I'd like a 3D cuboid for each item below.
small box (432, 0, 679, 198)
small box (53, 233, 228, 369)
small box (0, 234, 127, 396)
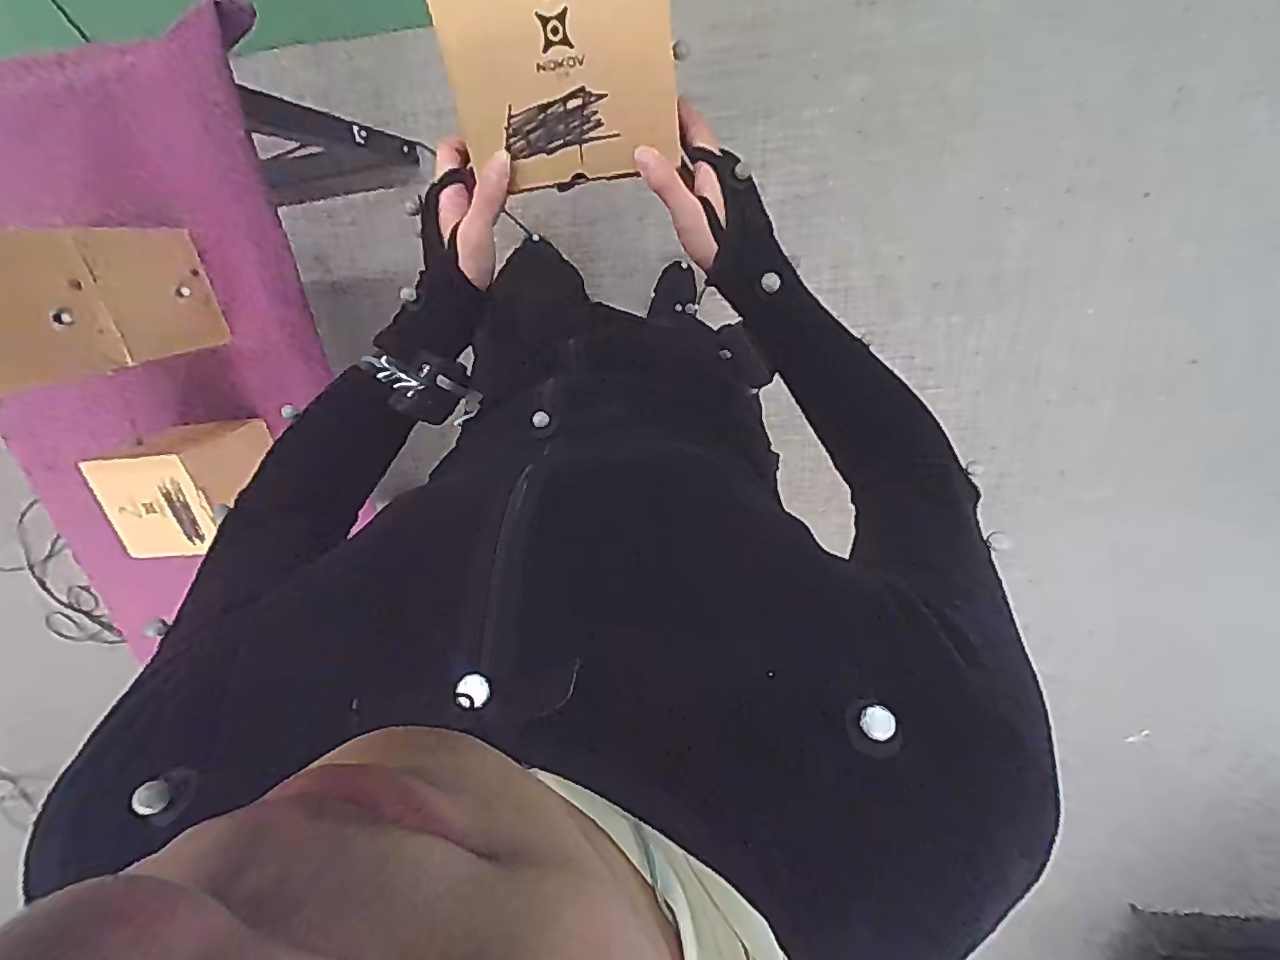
[{"bbox_3d":[-0.055,-0.351,0.446,0.168,0.176,0.179,-5,125,5],"label":"small box"},{"bbox_3d":[-0.749,-0.251,0.765,0.179,0.176,0.168,-4,114,8],"label":"small box"},{"bbox_3d":[-0.768,-0.183,0.618,0.179,0.176,0.168,-4,113,7],"label":"small box"}]
